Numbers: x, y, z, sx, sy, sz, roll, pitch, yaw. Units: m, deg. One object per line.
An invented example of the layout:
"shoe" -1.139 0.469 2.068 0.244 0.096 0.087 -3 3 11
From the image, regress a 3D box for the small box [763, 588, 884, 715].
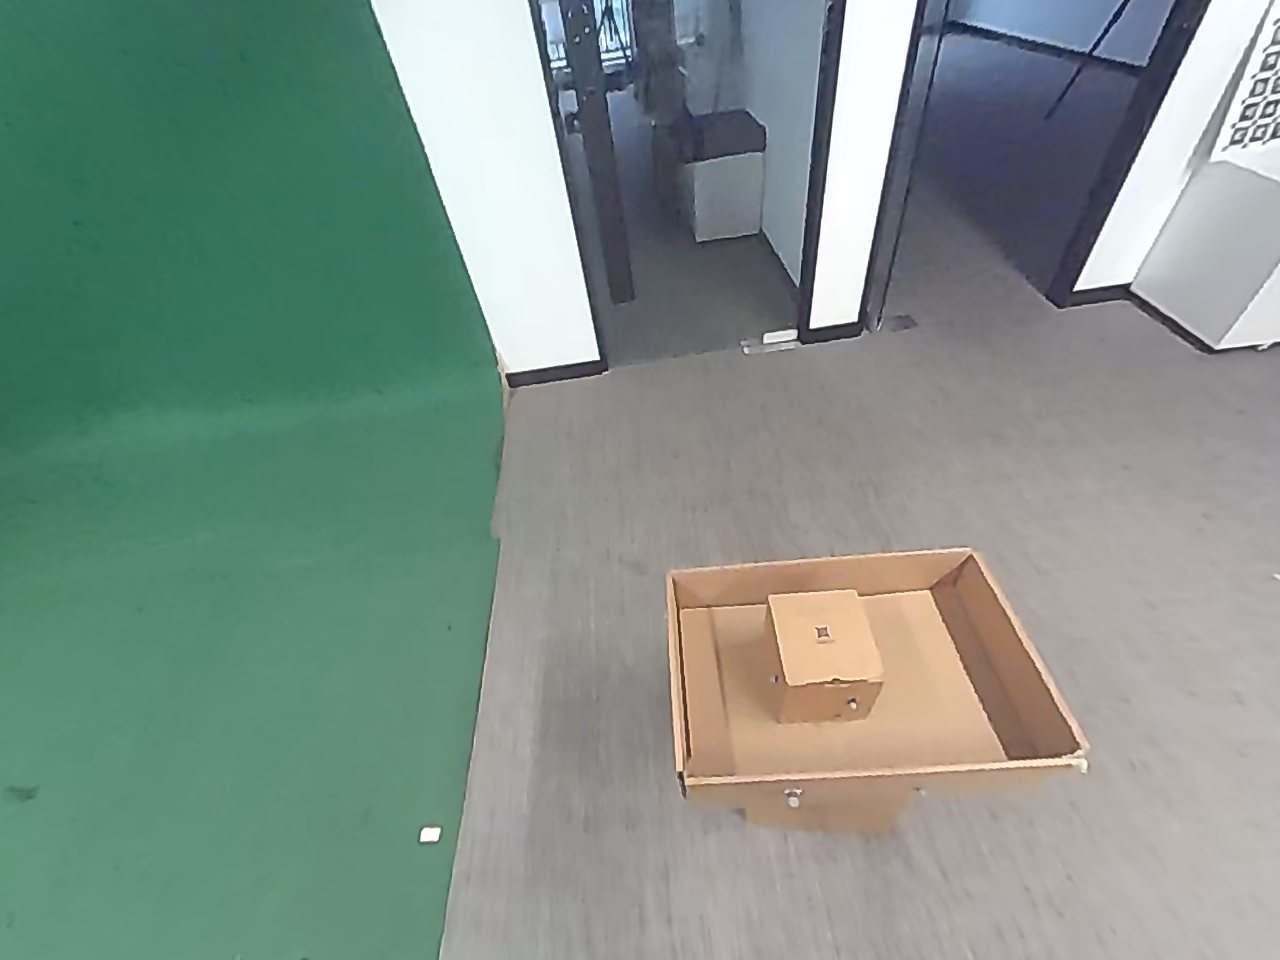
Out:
"small box" 0.329 0.325 1.008 0.168 0.176 0.179 -4 44 2
